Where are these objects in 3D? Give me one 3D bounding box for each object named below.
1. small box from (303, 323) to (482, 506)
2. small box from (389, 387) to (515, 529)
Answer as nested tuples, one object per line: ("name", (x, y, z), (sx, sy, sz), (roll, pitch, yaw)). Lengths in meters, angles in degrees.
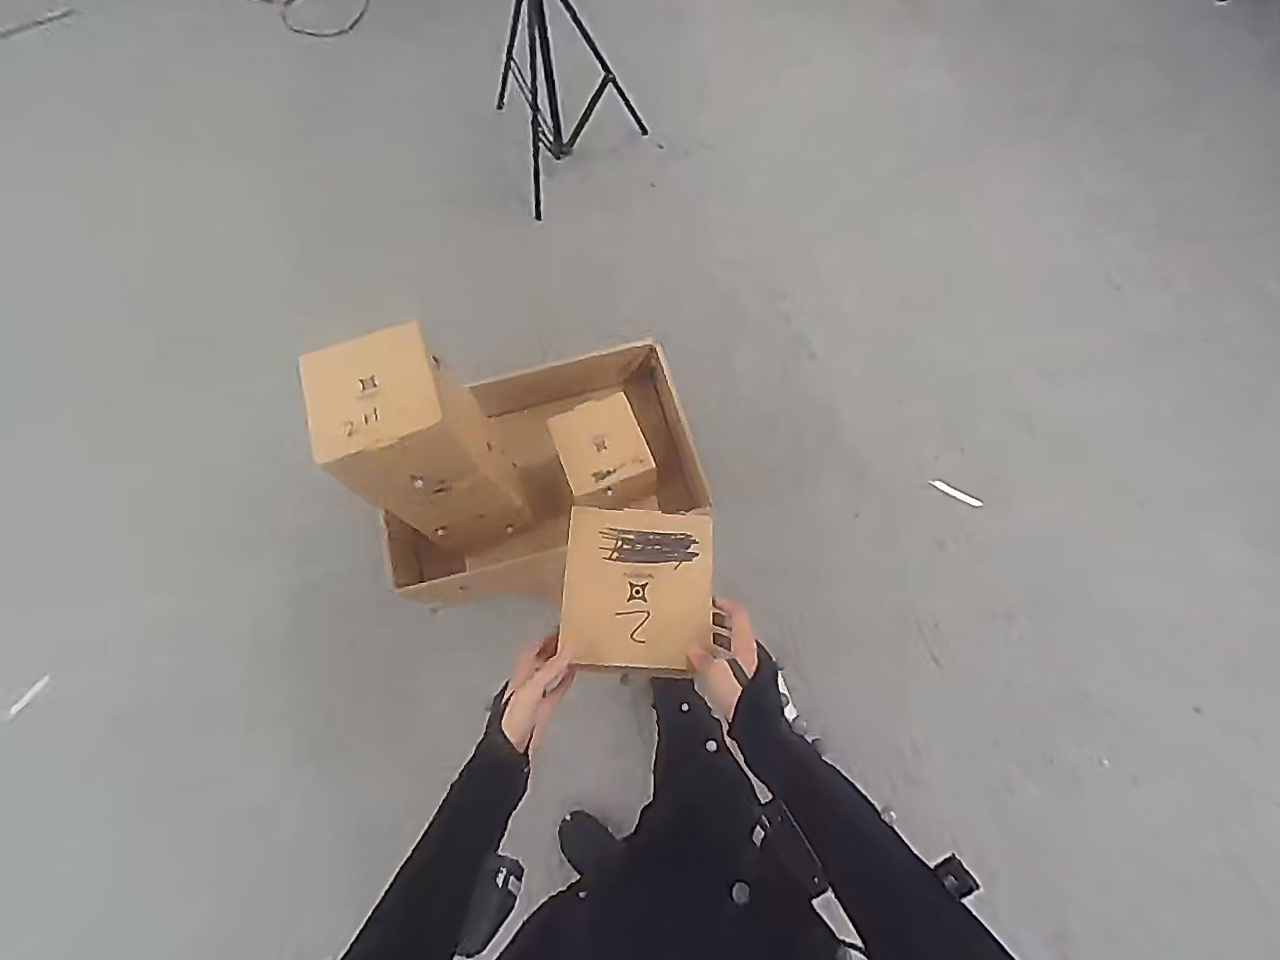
("small box", (-0.347, -0.087, 0.780), (0.168, 0.176, 0.179), (-20, 69, -6))
("small box", (-0.329, -0.026, 0.933), (0.168, 0.176, 0.179), (-18, 69, -5))
